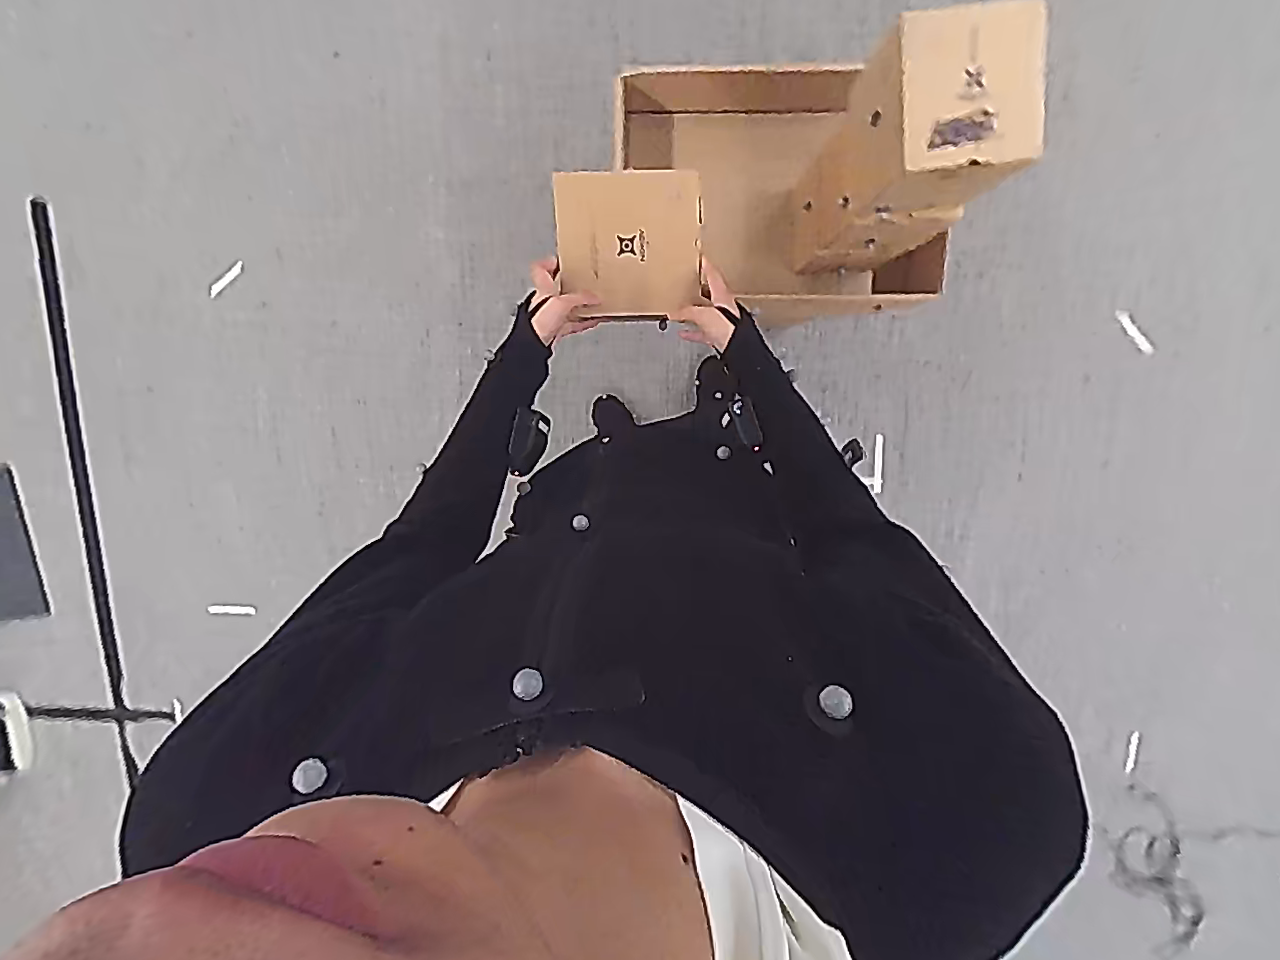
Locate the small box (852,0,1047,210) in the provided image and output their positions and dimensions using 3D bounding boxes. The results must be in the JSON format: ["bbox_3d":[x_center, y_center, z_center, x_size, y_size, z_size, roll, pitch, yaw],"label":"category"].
[{"bbox_3d":[0.390,-0.472,0.710,0.168,0.176,0.179,-5,99,2],"label":"small box"}]

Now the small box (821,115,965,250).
[{"bbox_3d":[0.401,-0.487,0.874,0.168,0.176,0.179,-2,100,2],"label":"small box"}]

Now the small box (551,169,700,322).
[{"bbox_3d":[-0.020,-0.302,0.726,0.179,0.176,0.168,-3,104,-2],"label":"small box"}]
